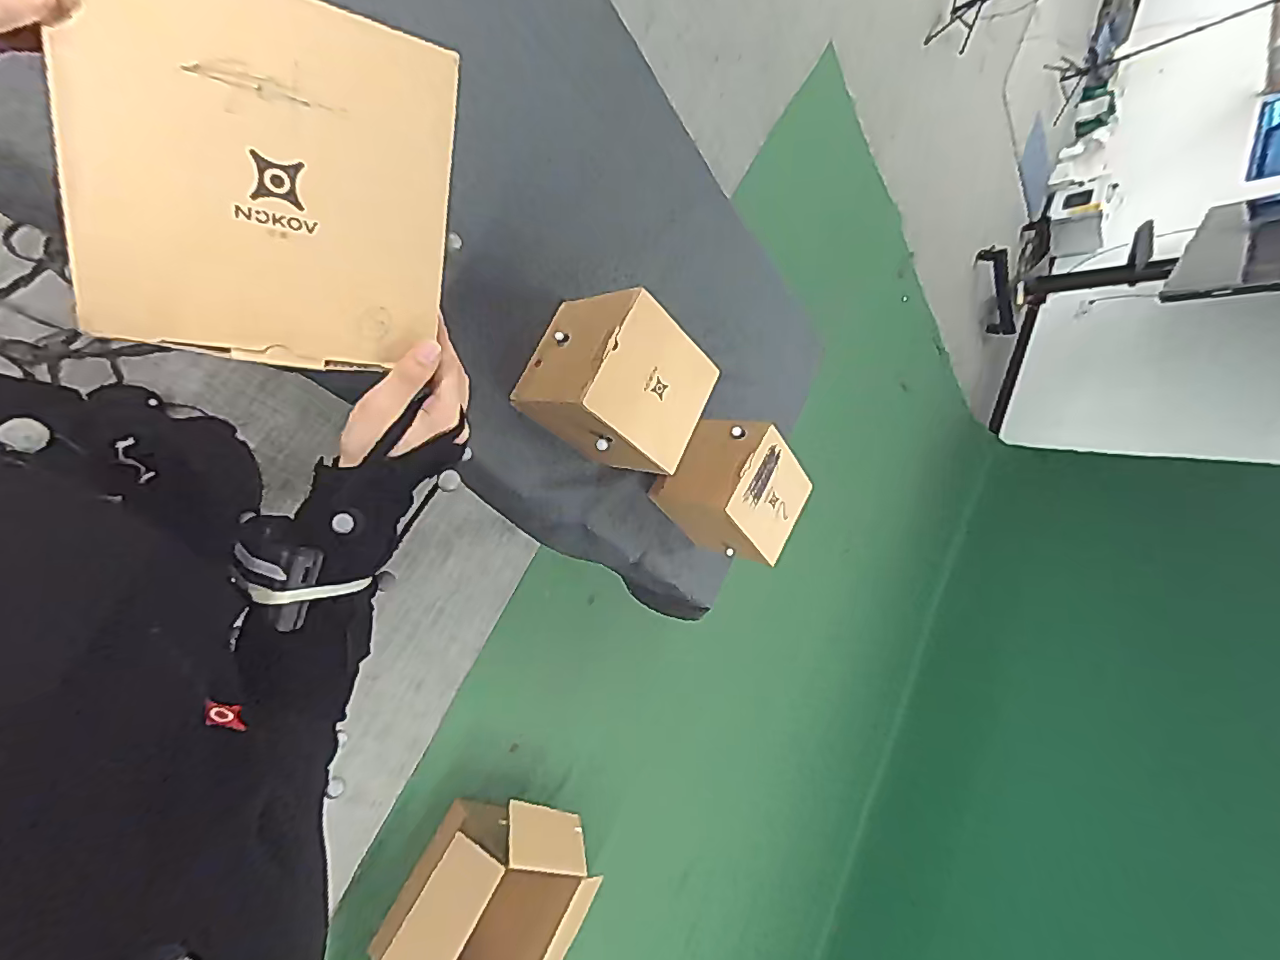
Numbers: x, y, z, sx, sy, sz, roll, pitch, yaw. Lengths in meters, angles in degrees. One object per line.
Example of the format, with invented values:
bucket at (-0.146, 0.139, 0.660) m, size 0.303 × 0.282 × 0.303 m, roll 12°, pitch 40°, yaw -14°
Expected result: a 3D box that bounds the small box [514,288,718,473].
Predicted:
small box at (-0.032, -0.129, 0.727) m, size 0.179 × 0.176 × 0.168 m, roll 36°, pitch 73°, yaw -39°
